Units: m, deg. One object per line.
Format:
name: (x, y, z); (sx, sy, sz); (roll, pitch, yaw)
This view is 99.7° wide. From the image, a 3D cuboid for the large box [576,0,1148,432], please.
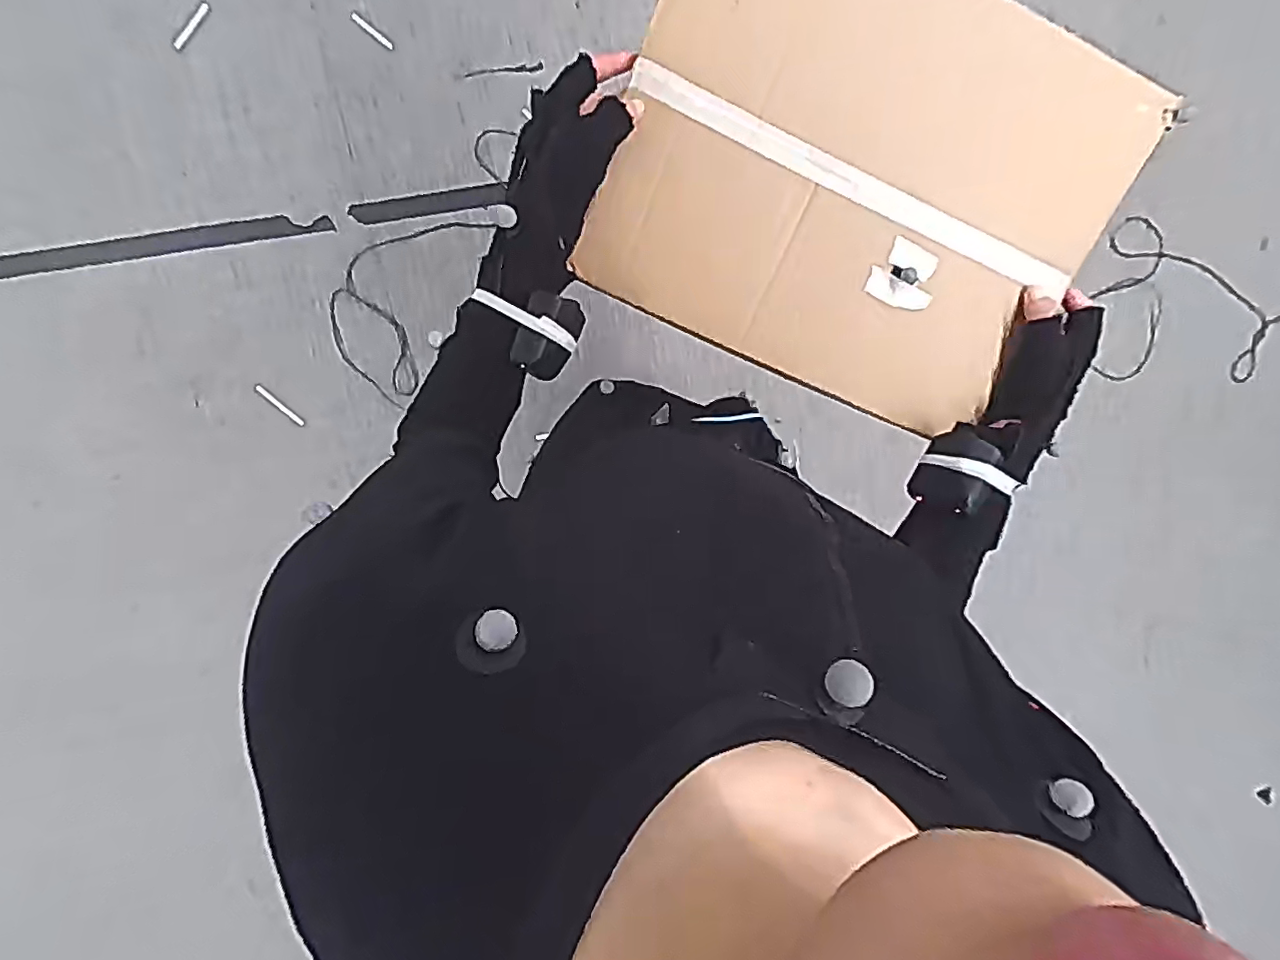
large box: (0.175, -0.295, 0.600); (0.408, 0.320, 0.320); (22, 107, -9)
